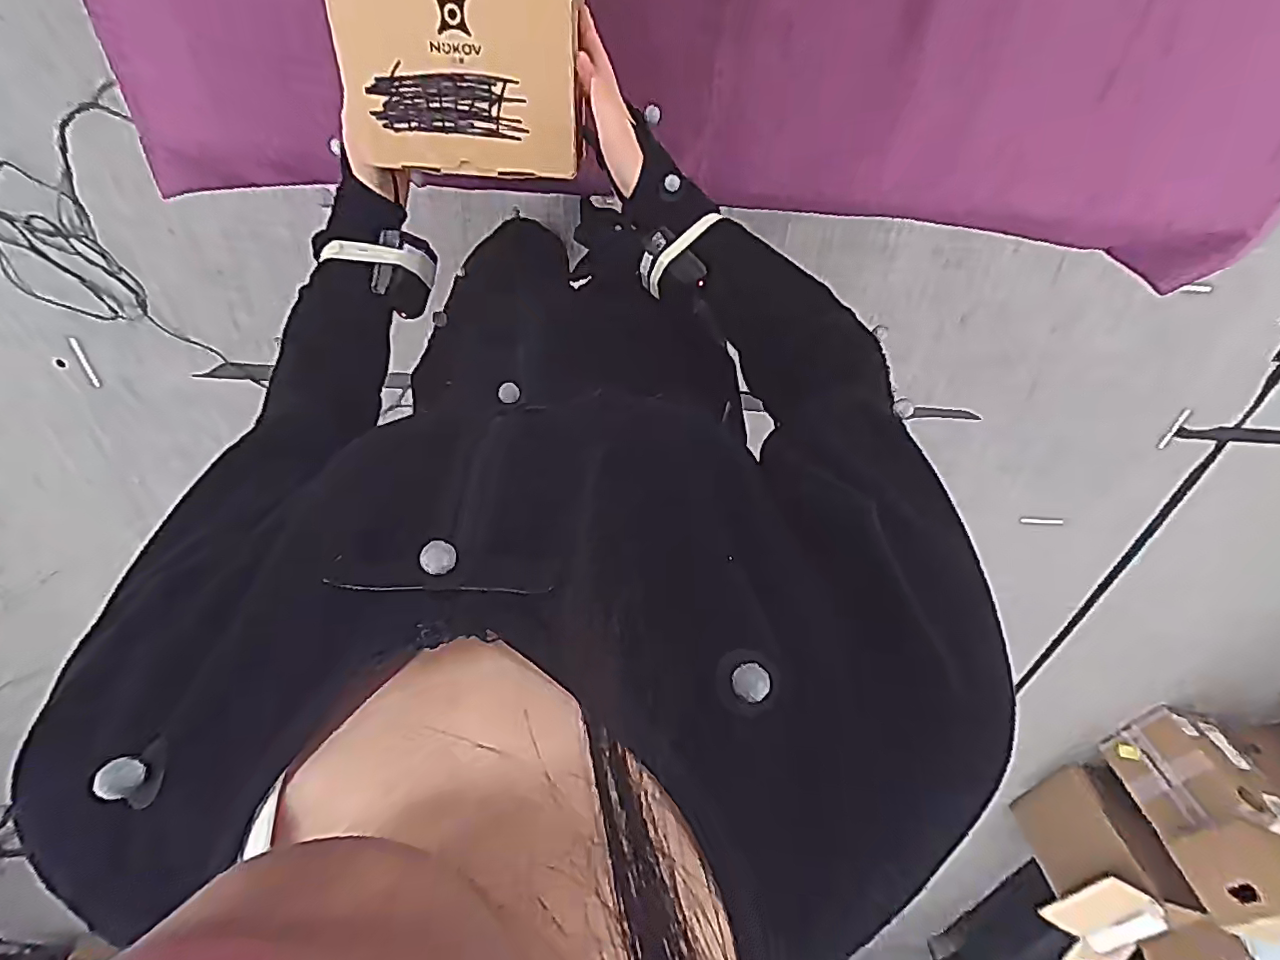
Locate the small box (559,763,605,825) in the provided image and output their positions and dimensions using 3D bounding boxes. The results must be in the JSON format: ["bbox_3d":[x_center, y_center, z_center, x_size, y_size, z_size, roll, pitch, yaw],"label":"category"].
[{"bbox_3d":[-0.227,1.243,2.139,0.179,0.176,0.168,2,124,-3],"label":"small box"}]

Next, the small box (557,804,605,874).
[{"bbox_3d":[-0.216,1.330,2.002,0.168,0.176,0.179,2,124,-4],"label":"small box"}]
